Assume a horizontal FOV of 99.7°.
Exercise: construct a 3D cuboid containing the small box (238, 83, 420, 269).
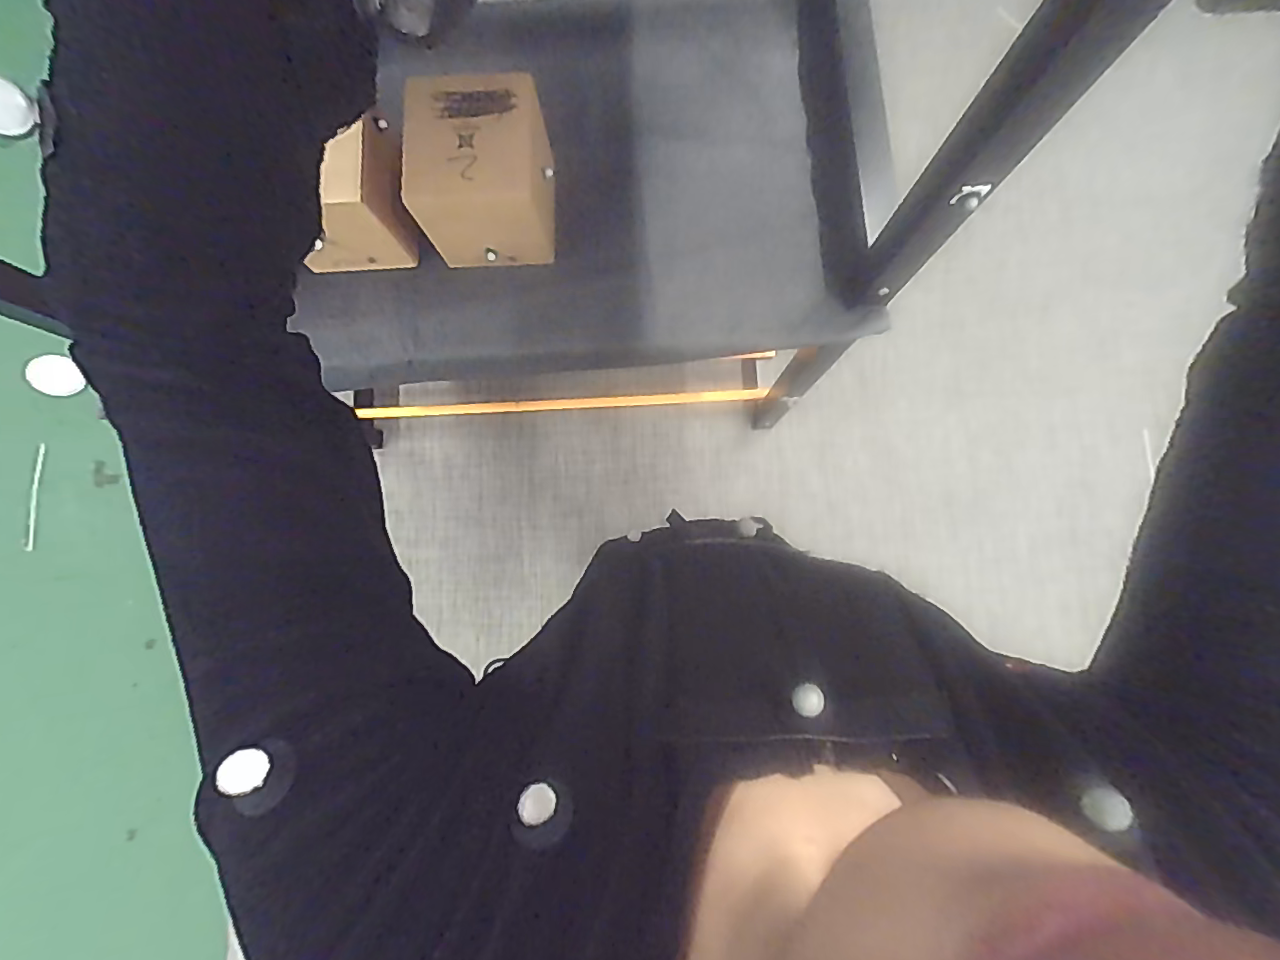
[{"bbox_3d":[-0.431,-0.419,0.776,0.168,0.176,0.179,-2,81,1],"label":"small box"}]
